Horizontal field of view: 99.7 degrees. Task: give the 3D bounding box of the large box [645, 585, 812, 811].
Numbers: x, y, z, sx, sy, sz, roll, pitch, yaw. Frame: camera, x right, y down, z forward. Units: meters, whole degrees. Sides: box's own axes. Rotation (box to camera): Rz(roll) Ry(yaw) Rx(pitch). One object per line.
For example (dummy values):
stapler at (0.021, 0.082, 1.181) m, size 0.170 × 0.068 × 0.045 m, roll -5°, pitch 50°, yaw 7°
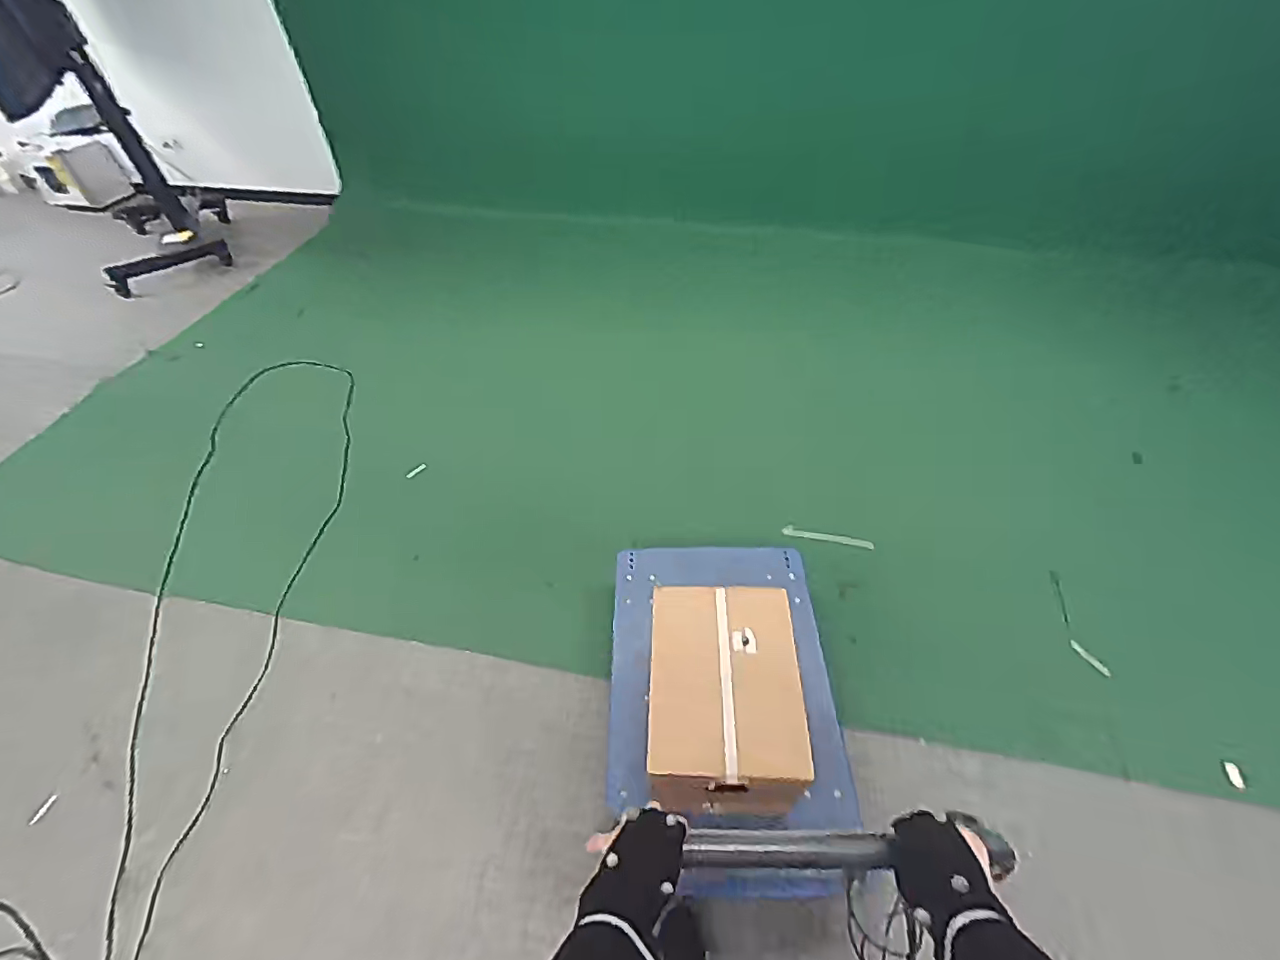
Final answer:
large box at (0.178, 0.496, 1.237) m, size 0.320 × 0.320 × 0.408 m, roll 2°, pitch 48°, yaw 3°
